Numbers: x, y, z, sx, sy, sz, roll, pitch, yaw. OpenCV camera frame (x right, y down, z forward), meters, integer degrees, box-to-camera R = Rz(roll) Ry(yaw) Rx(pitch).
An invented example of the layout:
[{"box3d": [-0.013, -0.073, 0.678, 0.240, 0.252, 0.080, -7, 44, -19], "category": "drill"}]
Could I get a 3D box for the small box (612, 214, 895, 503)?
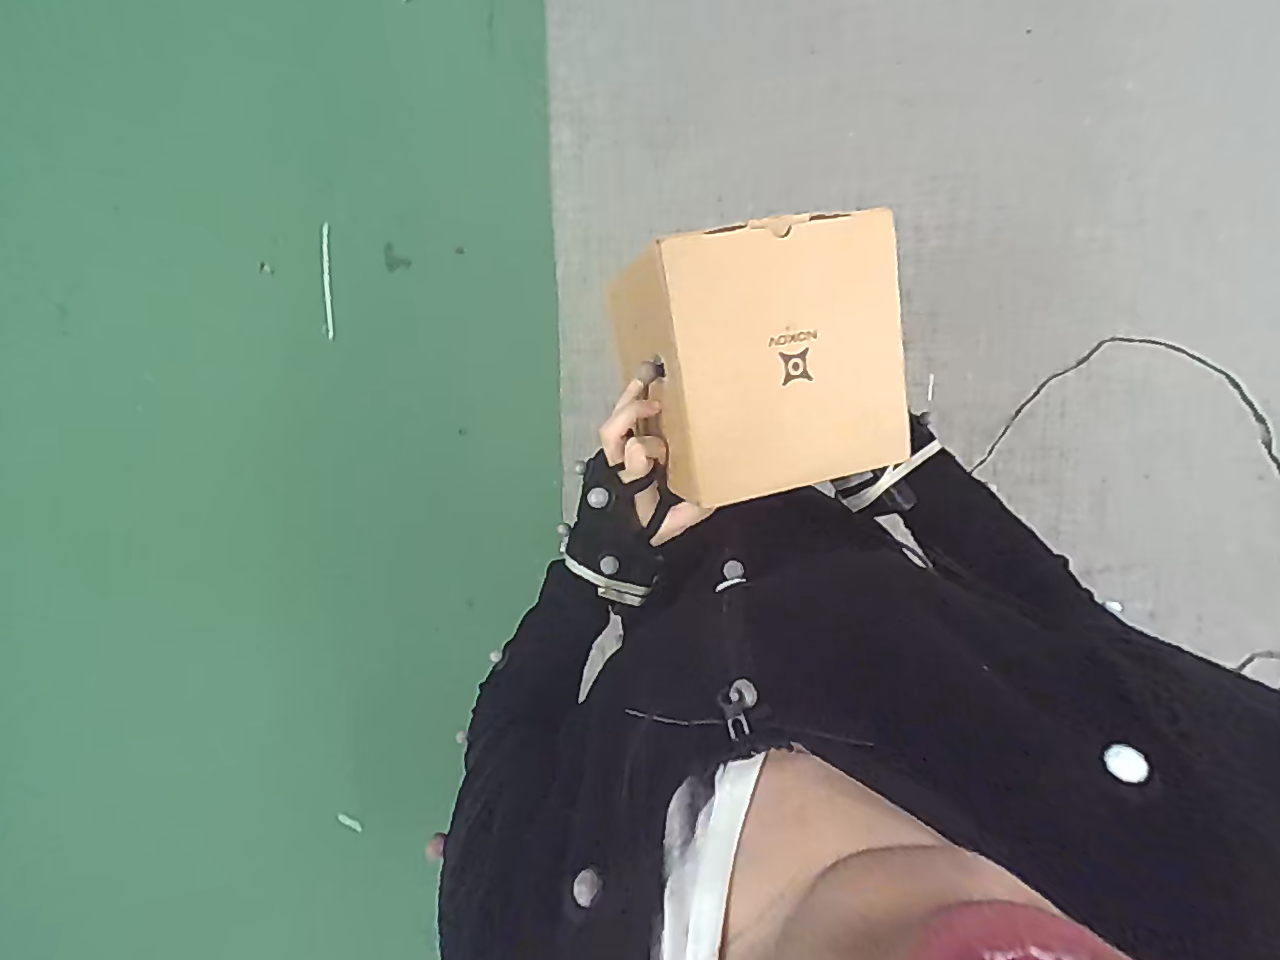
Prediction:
[{"box3d": [0.079, -0.094, 0.442, 0.168, 0.176, 0.179, -11, 101, -11], "category": "small box"}]
